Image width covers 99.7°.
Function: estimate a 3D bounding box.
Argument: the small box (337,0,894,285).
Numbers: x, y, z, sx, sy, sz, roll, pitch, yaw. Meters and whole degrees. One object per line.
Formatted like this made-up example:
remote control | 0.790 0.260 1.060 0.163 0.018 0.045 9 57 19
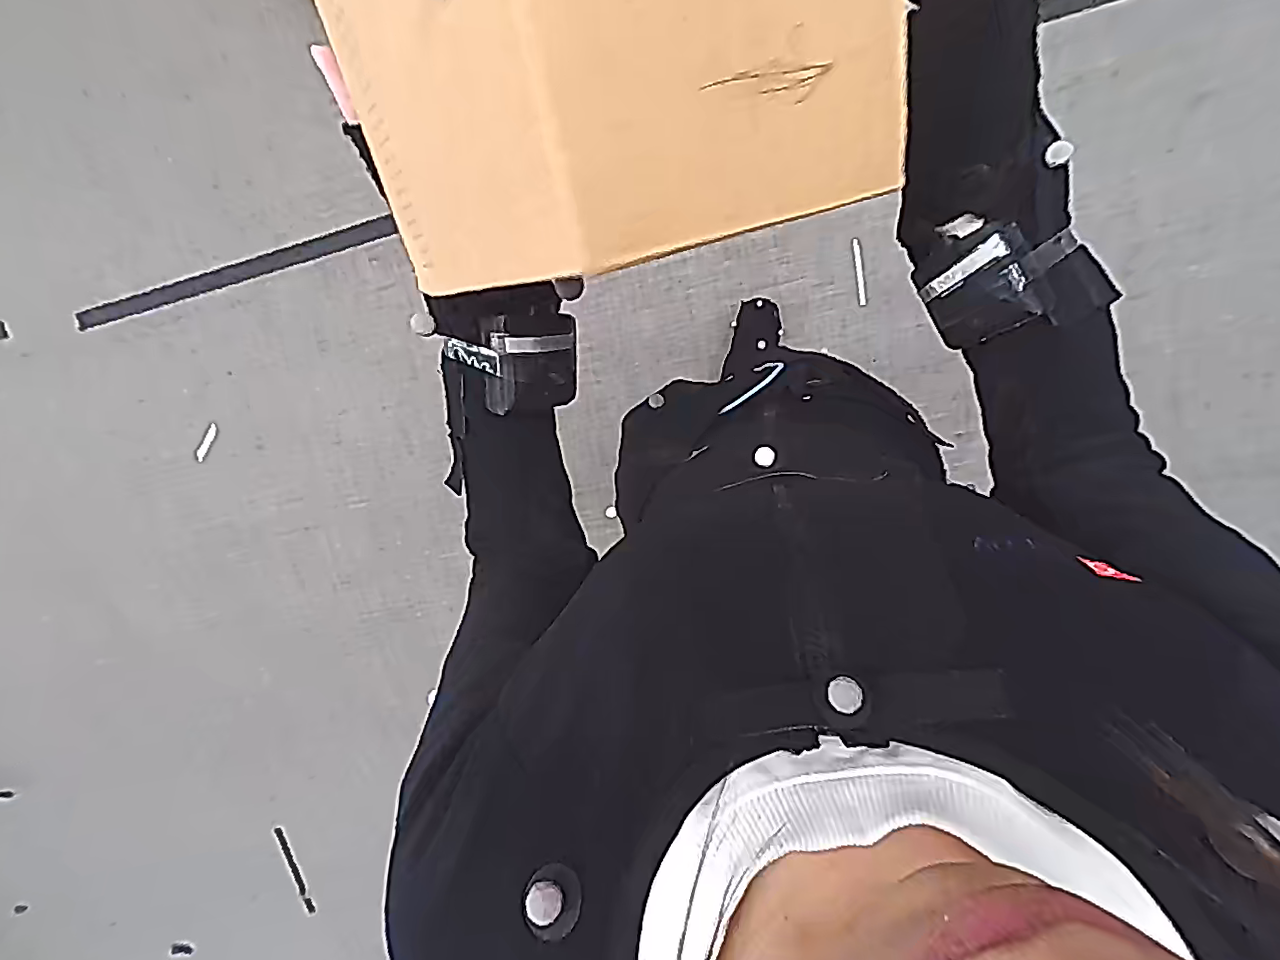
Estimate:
small box | -0.015 -0.194 0.231 0.168 0.176 0.179 -28 118 -31
